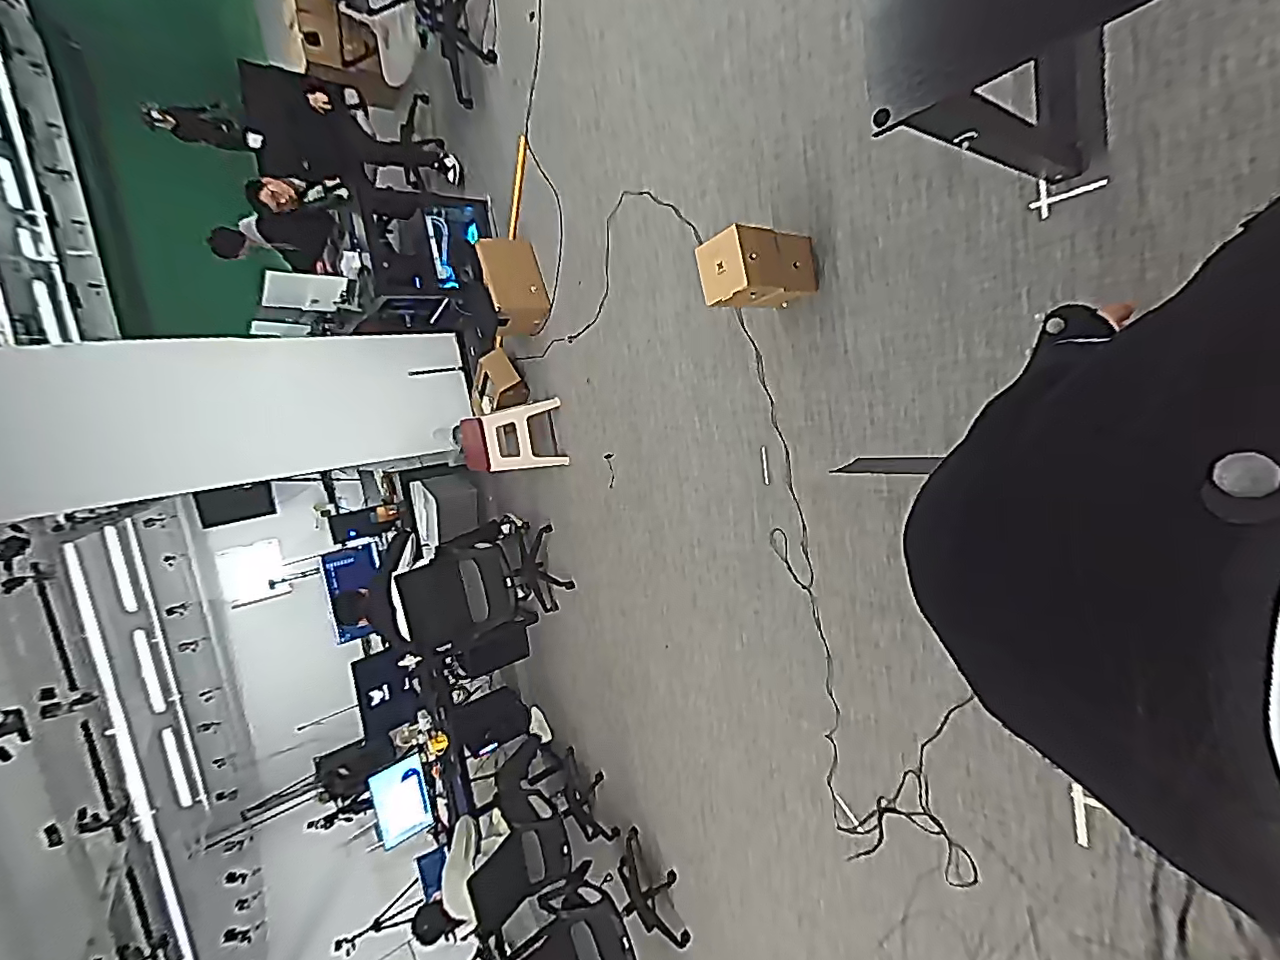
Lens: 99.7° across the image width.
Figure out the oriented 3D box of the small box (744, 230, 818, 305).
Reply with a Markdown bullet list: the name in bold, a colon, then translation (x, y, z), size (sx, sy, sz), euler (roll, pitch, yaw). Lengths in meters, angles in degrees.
- **small box**: translation (0.427, -0.650, 1.674), size (0.168, 0.176, 0.179), euler (-3, 99, 54)

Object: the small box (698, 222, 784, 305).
- **small box**: translation (0.298, -0.625, 1.579), size (0.168, 0.176, 0.179), euler (-9, 92, 53)
